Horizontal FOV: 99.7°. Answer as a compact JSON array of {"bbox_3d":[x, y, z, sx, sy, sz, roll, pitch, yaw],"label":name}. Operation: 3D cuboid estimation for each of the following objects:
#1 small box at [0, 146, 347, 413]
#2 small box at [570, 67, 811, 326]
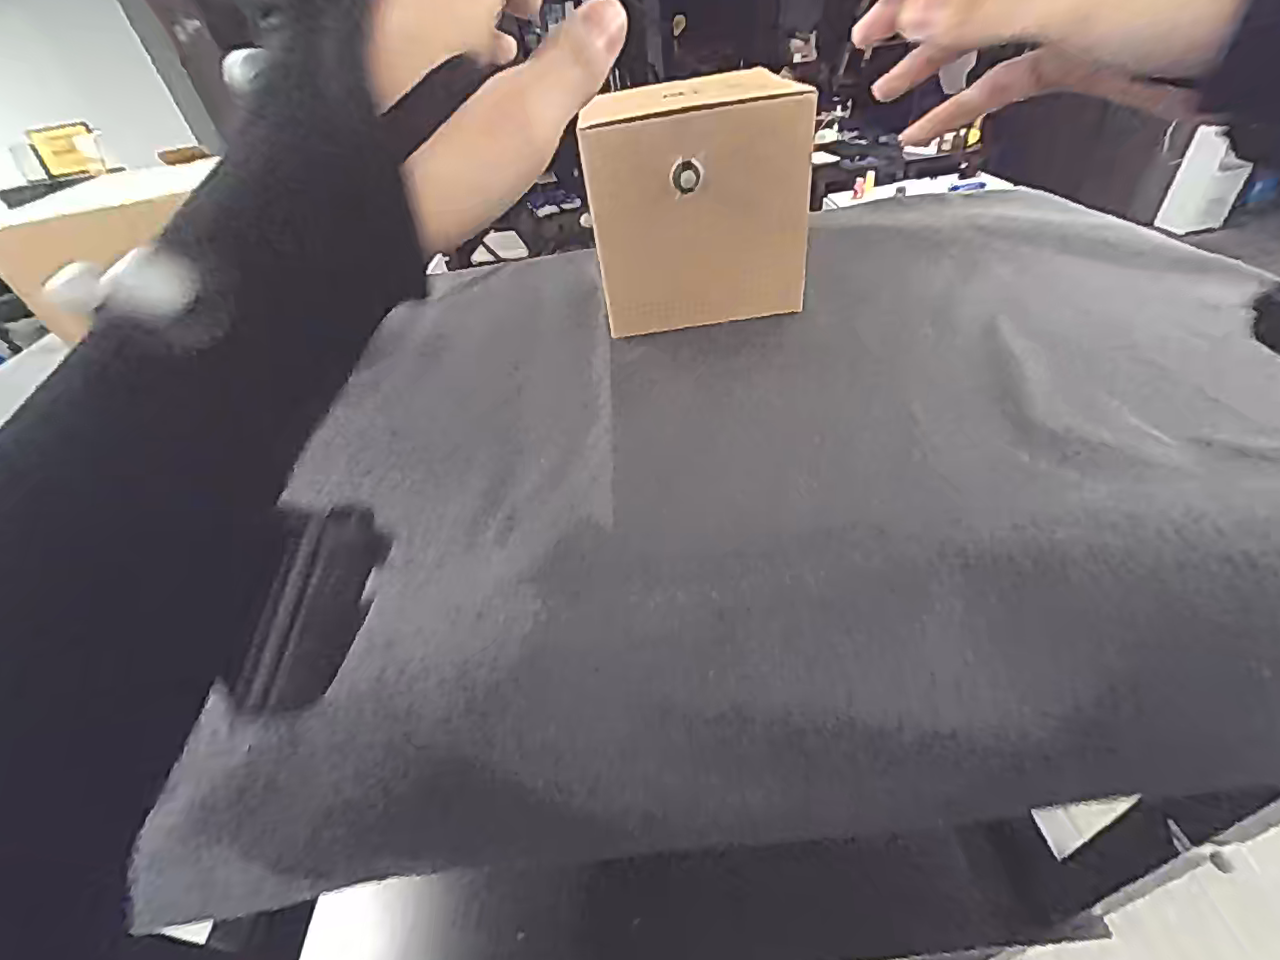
[{"bbox_3d":[-0.401,-0.186,0.496,0.168,0.176,0.179,-12,41,-2],"label":"small box"},{"bbox_3d":[0.043,-0.254,0.491,0.179,0.176,0.168,-7,41,2],"label":"small box"}]
